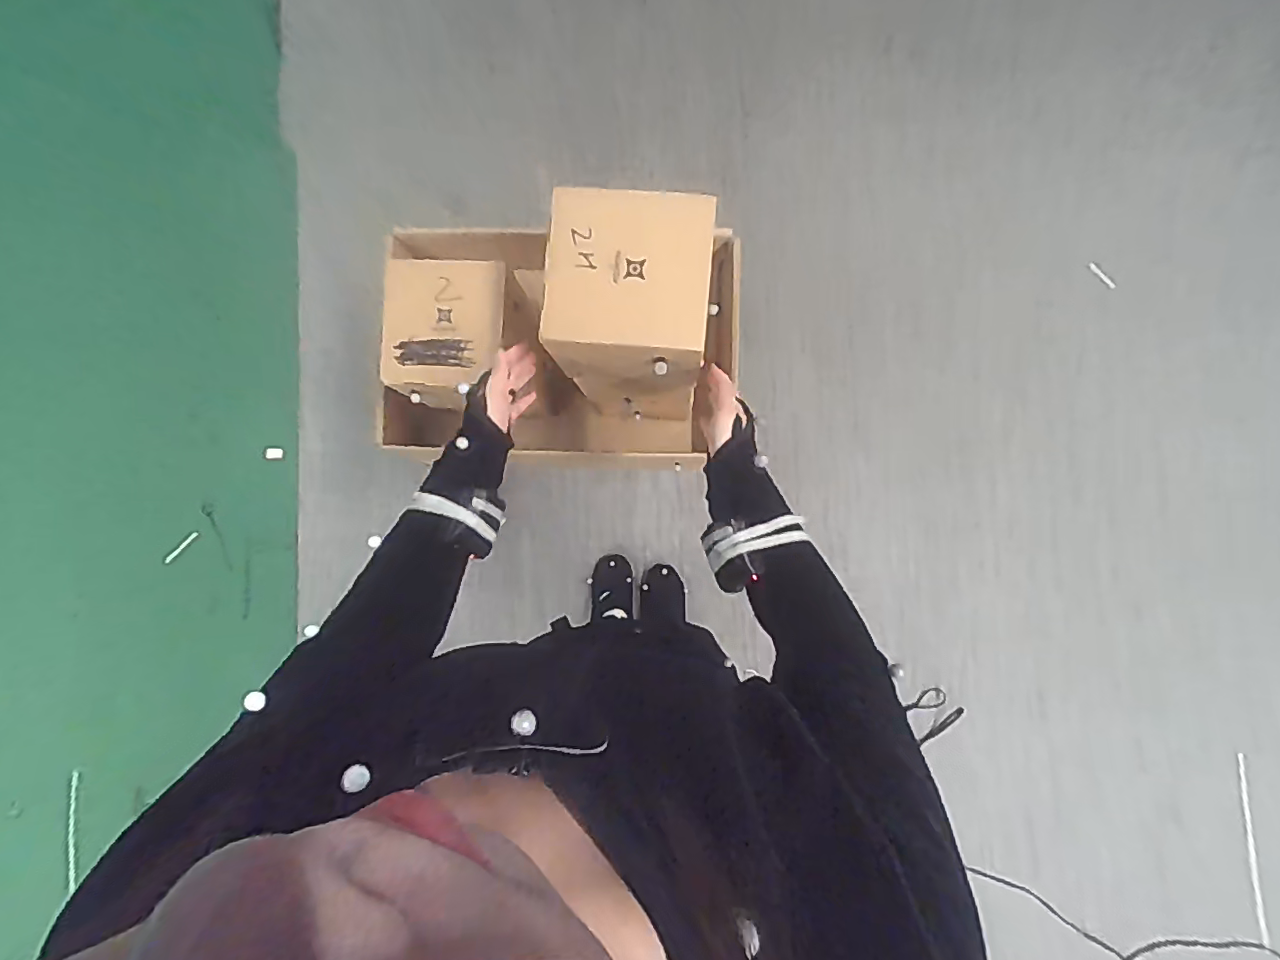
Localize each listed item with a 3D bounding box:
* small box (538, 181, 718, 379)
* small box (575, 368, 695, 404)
[{"bbox_3d":[-0.008,-0.222,0.641,0.179,0.176,0.168,6,87,4],"label":"small box"},{"bbox_3d":[0.001,-0.219,0.806,0.168,0.176,0.179,4,88,4],"label":"small box"}]
